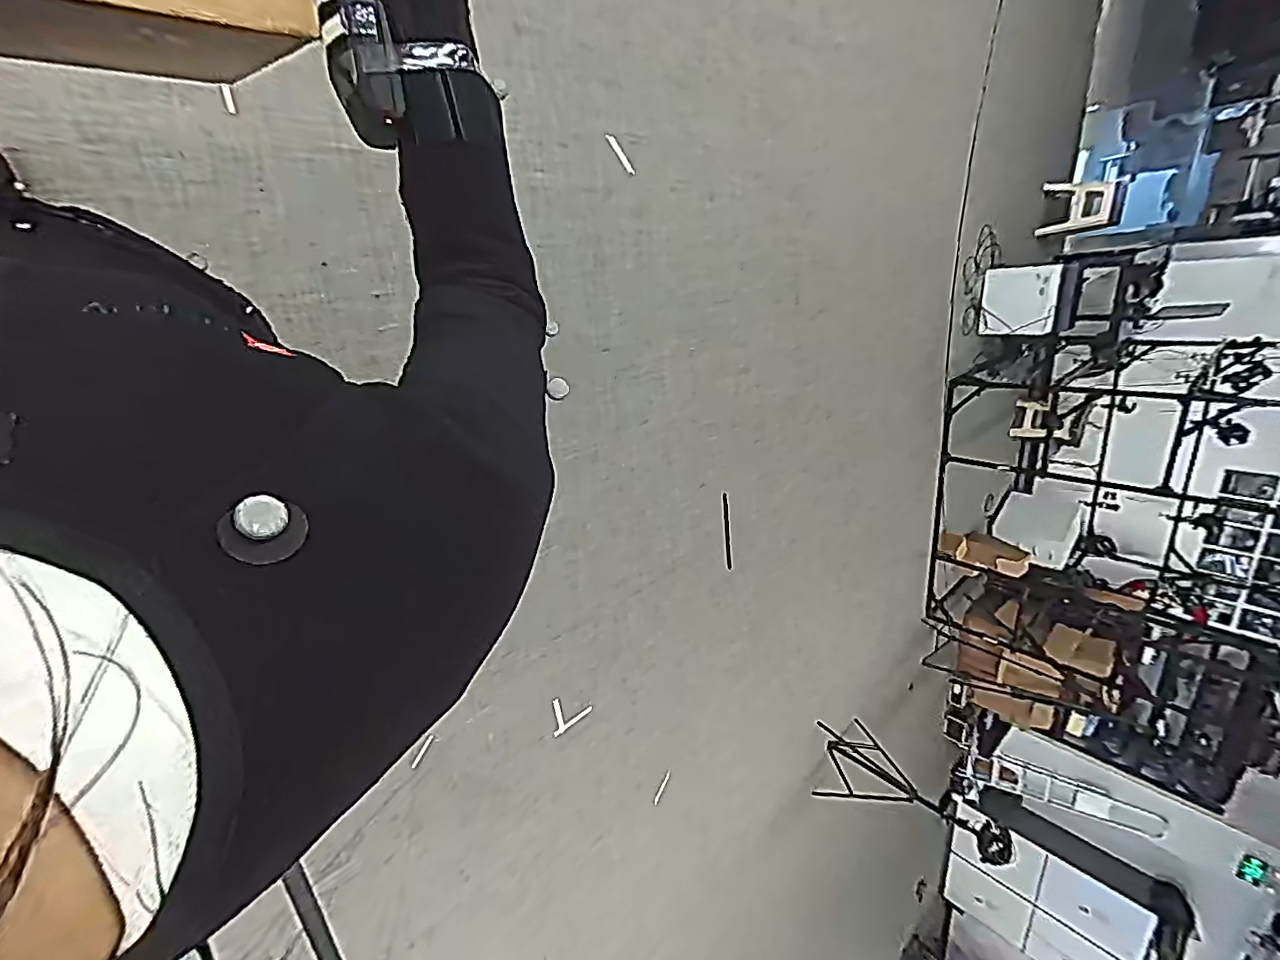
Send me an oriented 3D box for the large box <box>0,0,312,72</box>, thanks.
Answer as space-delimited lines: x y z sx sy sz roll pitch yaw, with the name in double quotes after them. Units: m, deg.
-0.437 -0.397 0.226 0.408 0.320 0.320 -22 129 -36 "large box"
